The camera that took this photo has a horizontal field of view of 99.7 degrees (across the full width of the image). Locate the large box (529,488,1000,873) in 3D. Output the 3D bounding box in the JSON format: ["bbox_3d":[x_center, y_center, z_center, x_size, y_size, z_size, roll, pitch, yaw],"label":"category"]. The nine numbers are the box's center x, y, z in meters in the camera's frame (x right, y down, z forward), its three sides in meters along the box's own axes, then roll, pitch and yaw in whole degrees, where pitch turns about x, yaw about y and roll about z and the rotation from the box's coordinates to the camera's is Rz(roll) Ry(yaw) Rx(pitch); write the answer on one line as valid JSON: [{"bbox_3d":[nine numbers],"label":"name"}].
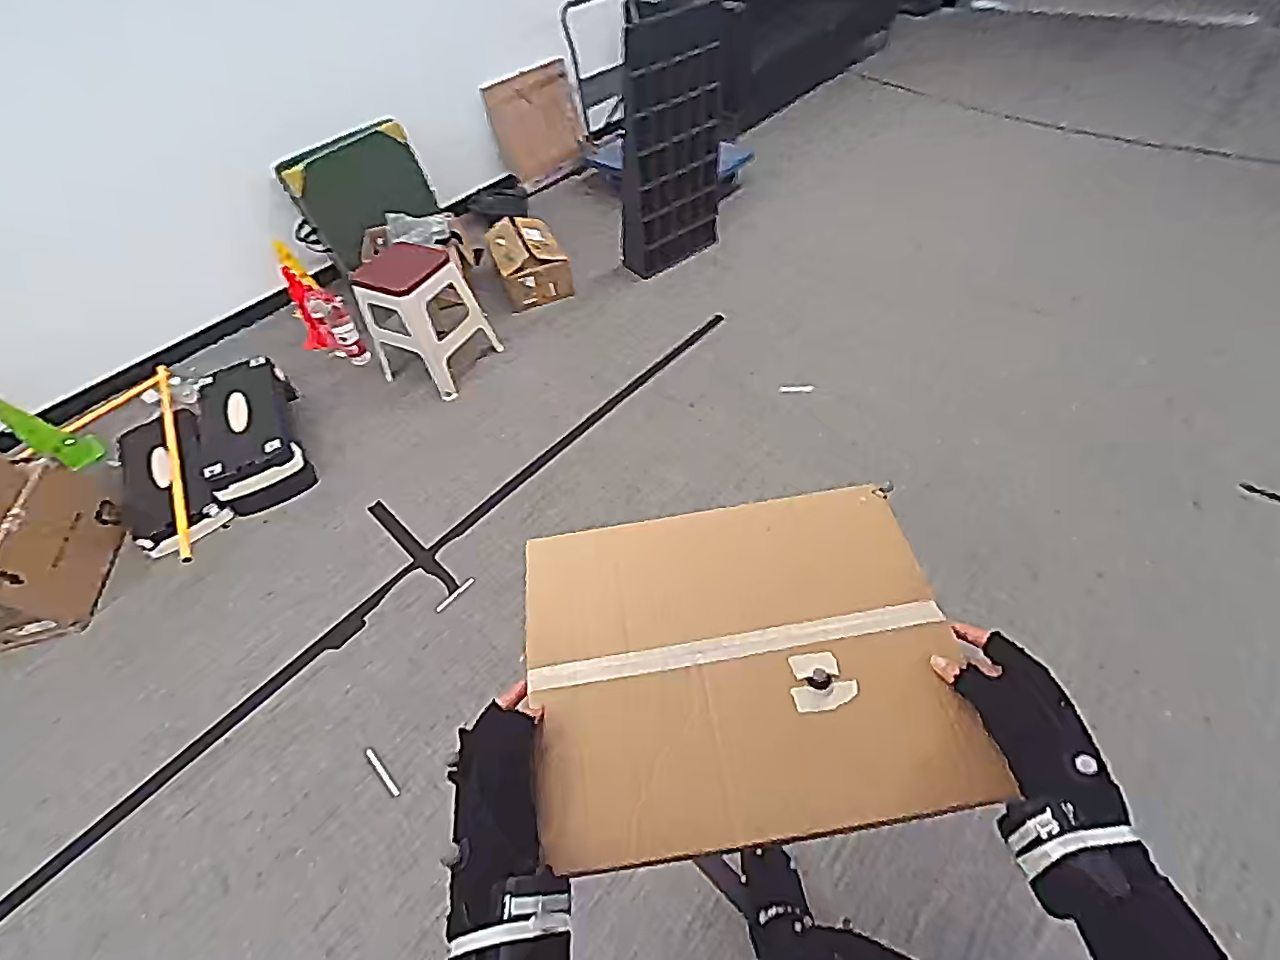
[{"bbox_3d":[0.101,0.253,0.658,0.408,0.320,0.320,-10,54,-1],"label":"large box"}]
